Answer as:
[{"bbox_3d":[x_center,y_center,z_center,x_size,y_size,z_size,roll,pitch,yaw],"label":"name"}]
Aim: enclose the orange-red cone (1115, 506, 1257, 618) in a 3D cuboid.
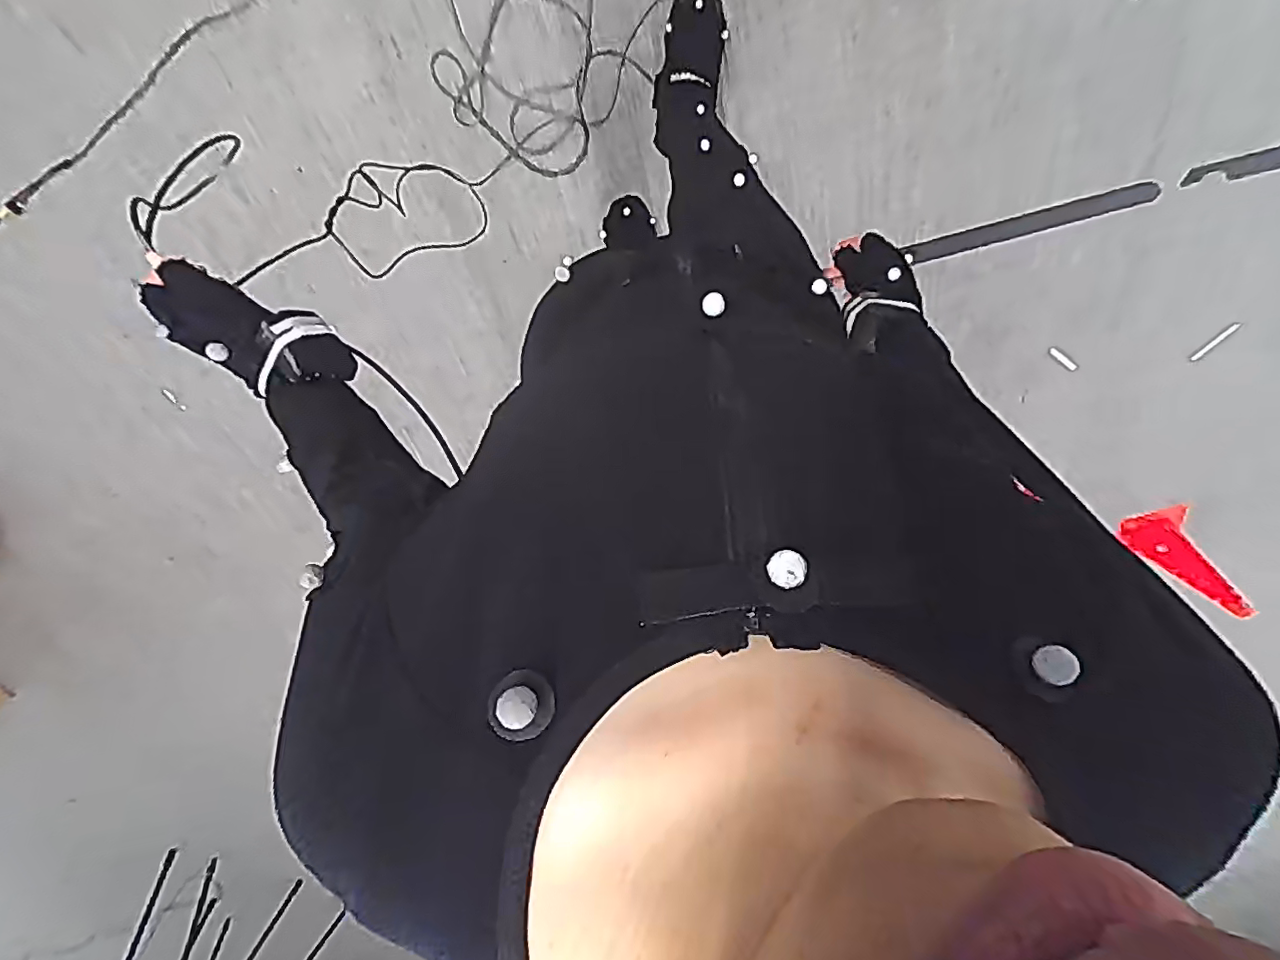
[{"bbox_3d":[1.725,0.277,1.677,0.199,0.360,0.198,-18,124,9],"label":"orange-red cone"}]
